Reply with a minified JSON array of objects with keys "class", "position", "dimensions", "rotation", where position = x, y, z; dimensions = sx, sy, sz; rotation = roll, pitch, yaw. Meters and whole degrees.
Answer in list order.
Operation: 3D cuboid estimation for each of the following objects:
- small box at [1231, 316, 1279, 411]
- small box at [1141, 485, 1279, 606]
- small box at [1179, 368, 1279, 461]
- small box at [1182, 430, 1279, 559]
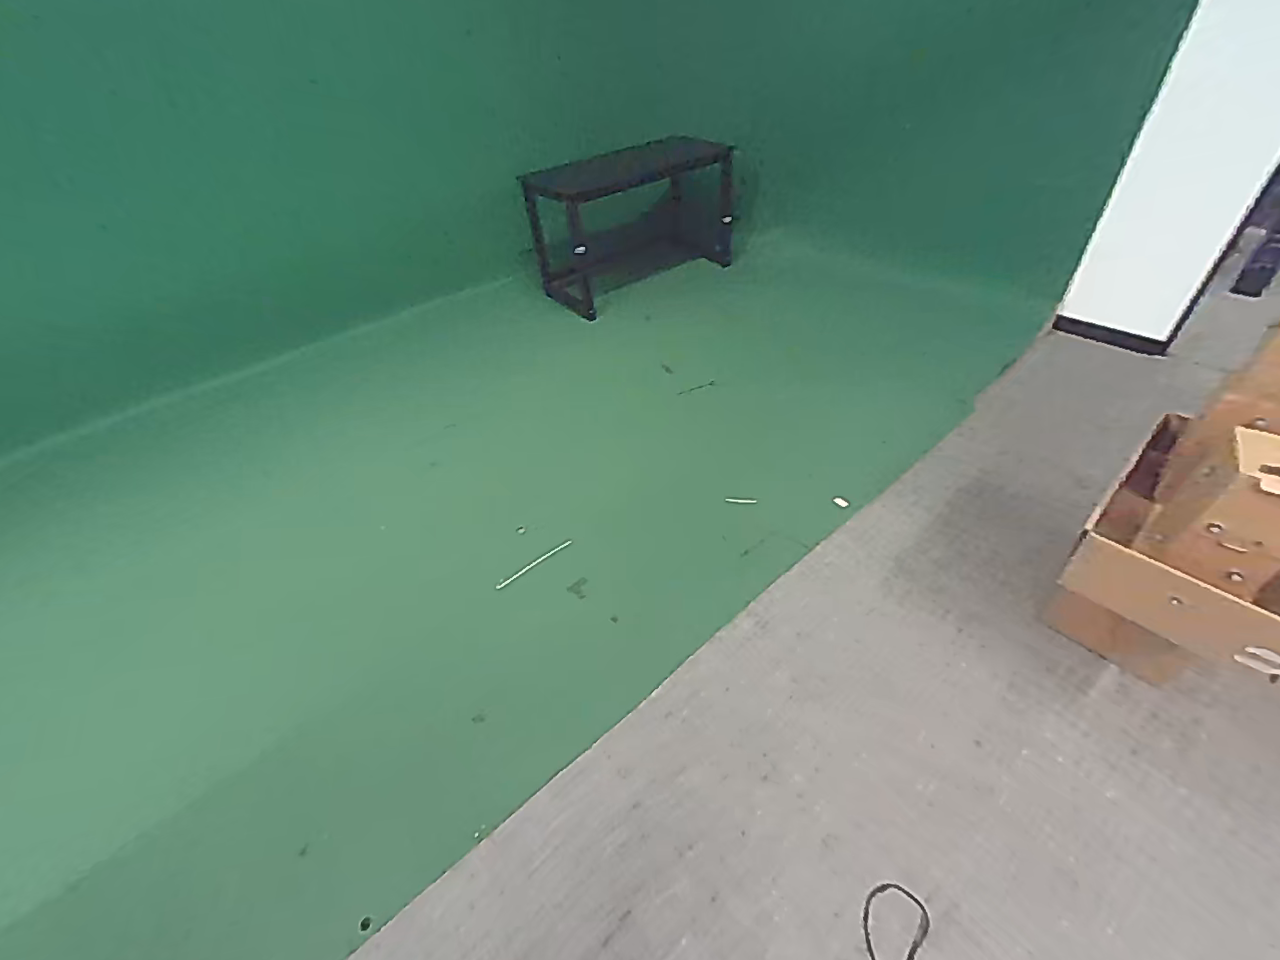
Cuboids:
[{"class":"small box","position":[1.414,-0.252,1.140],"dimensions":[0.179,0.176,0.168],"rotation":[-37,49,-27]},{"class":"small box","position":[1.272,0.148,1.214],"dimensions":[0.168,0.176,0.179],"rotation":[23,50,28]},{"class":"small box","position":[1.419,-0.128,1.250],"dimensions":[0.179,0.176,0.168],"rotation":[29,54,34]},{"class":"small box","position":[1.257,0.031,1.101],"dimensions":[0.168,0.176,0.179],"rotation":[23,49,27]}]
